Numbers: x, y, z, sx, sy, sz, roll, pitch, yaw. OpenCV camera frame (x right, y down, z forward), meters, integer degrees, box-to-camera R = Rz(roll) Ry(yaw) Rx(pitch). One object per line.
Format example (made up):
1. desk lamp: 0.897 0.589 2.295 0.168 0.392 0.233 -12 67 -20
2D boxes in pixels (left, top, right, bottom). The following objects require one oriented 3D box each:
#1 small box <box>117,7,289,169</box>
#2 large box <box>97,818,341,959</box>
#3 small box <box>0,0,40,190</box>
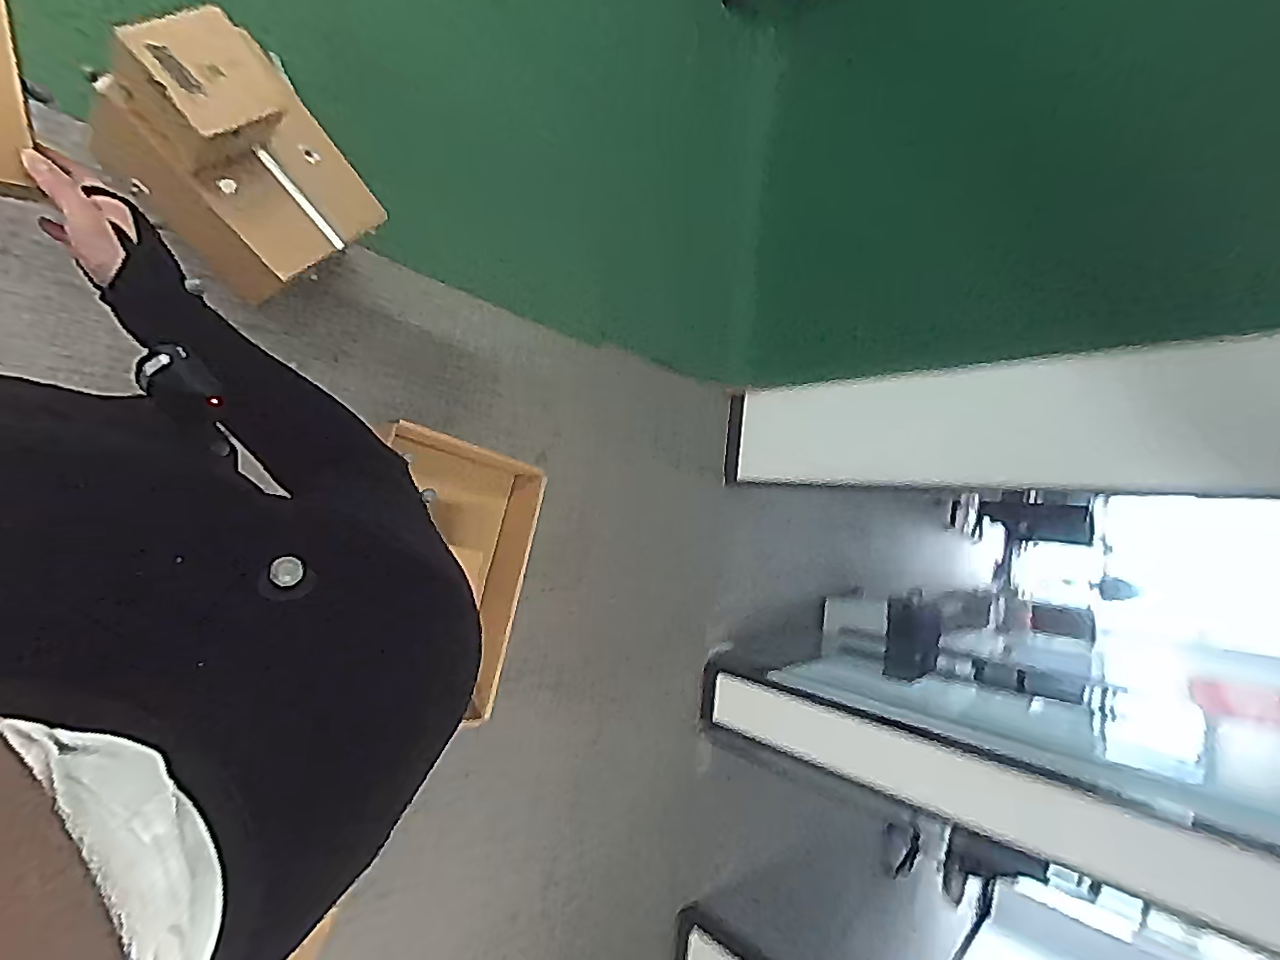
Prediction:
1. small box: -0.792 -0.703 0.984 0.179 0.176 0.168 -52 126 -31
2. large box: -0.974 1.062 1.219 0.320 0.320 0.408 43 61 -39
3. small box: -0.590 -0.331 0.403 0.168 0.176 0.179 -13 118 -45
